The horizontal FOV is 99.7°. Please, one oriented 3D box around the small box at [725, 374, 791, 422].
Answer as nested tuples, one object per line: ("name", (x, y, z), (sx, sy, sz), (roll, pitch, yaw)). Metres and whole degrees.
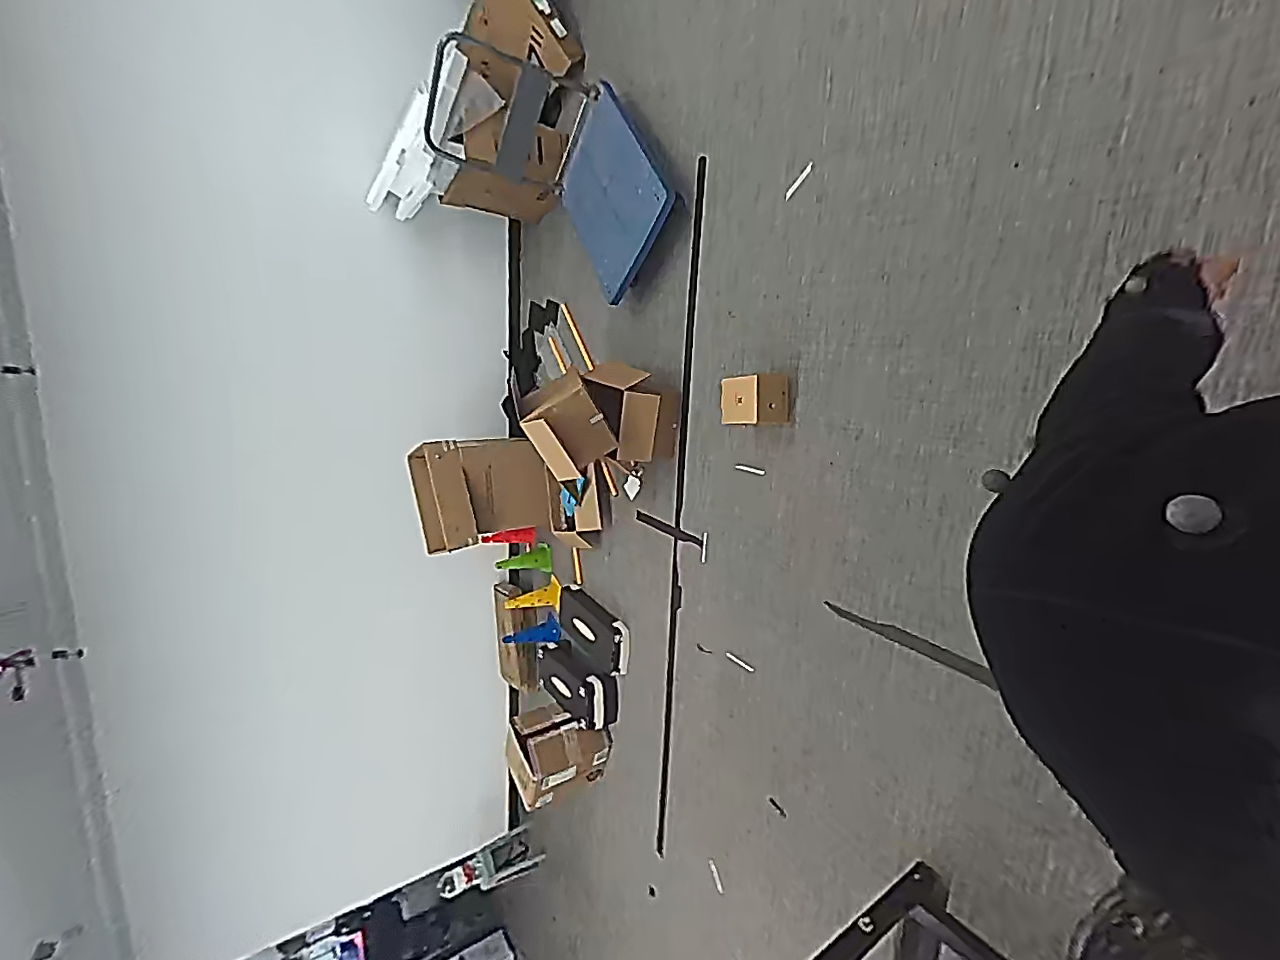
("small box", (0.424, -0.292, 1.941), (0.179, 0.176, 0.168), (8, 101, 56))
